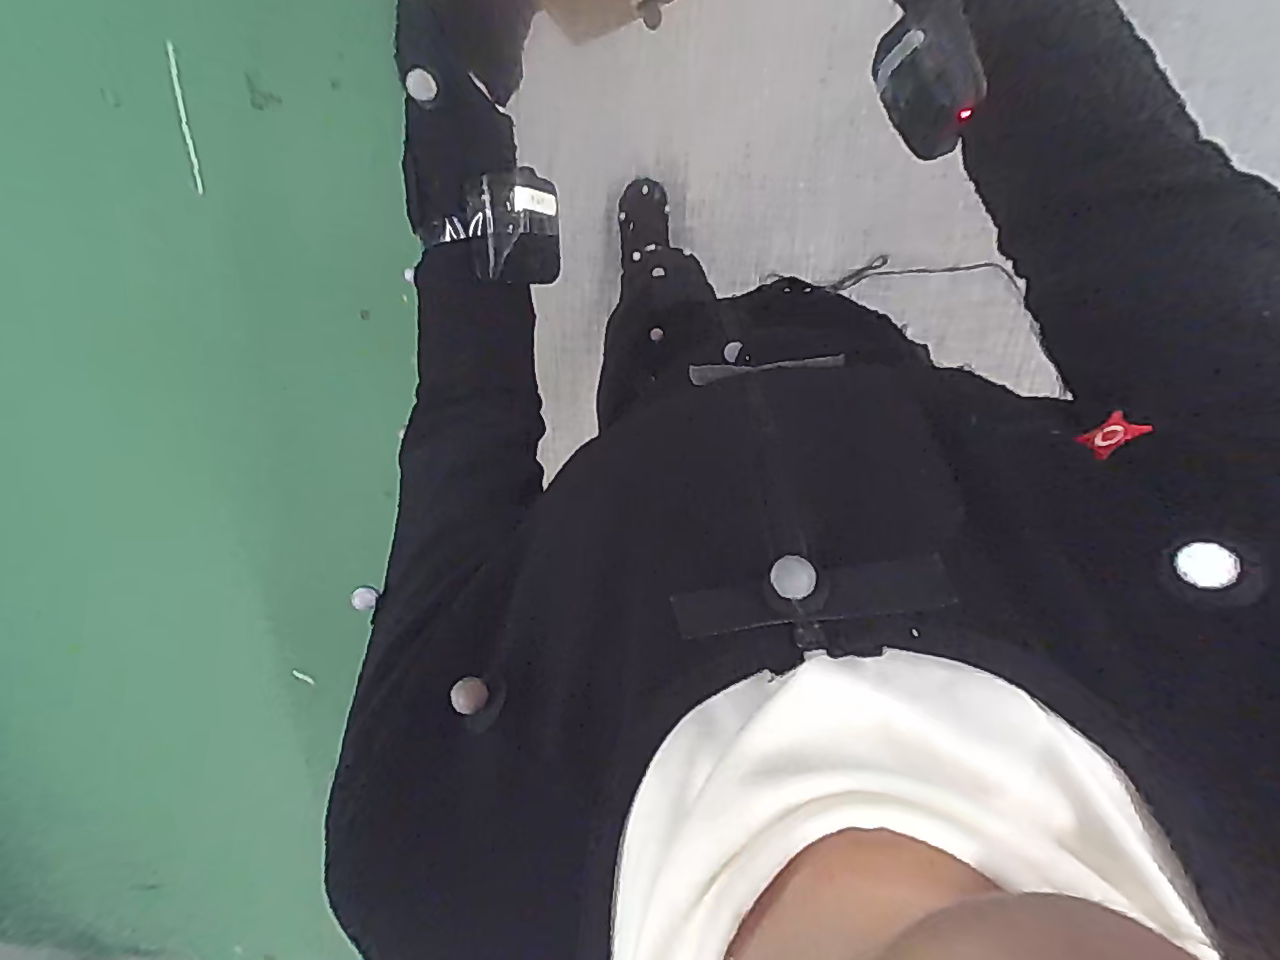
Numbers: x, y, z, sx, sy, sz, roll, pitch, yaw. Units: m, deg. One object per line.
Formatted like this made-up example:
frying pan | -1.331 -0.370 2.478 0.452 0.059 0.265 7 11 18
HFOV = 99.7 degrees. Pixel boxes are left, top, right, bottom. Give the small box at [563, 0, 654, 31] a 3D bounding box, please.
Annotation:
small box | -0.016 -0.457 0.364 0.168 0.176 0.179 -17 116 15
